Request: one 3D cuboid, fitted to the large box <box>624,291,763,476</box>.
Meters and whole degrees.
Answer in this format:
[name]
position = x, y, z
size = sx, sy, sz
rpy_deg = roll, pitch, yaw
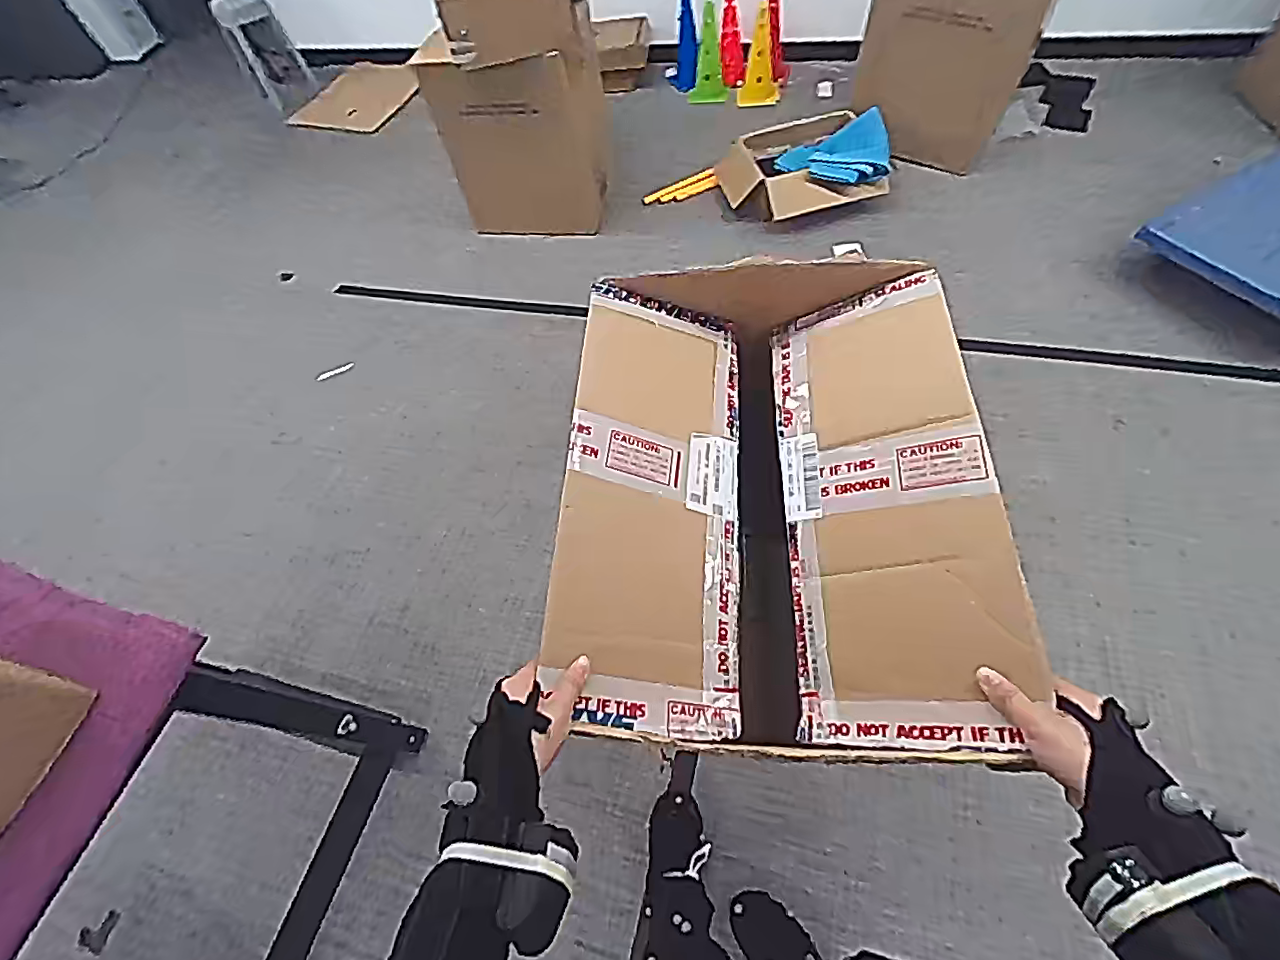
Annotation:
[large box]
position = 0.163, -0.275, 1.546
size = 0.320, 0.320, 0.408
rpy_deg = 8, 61, 13
